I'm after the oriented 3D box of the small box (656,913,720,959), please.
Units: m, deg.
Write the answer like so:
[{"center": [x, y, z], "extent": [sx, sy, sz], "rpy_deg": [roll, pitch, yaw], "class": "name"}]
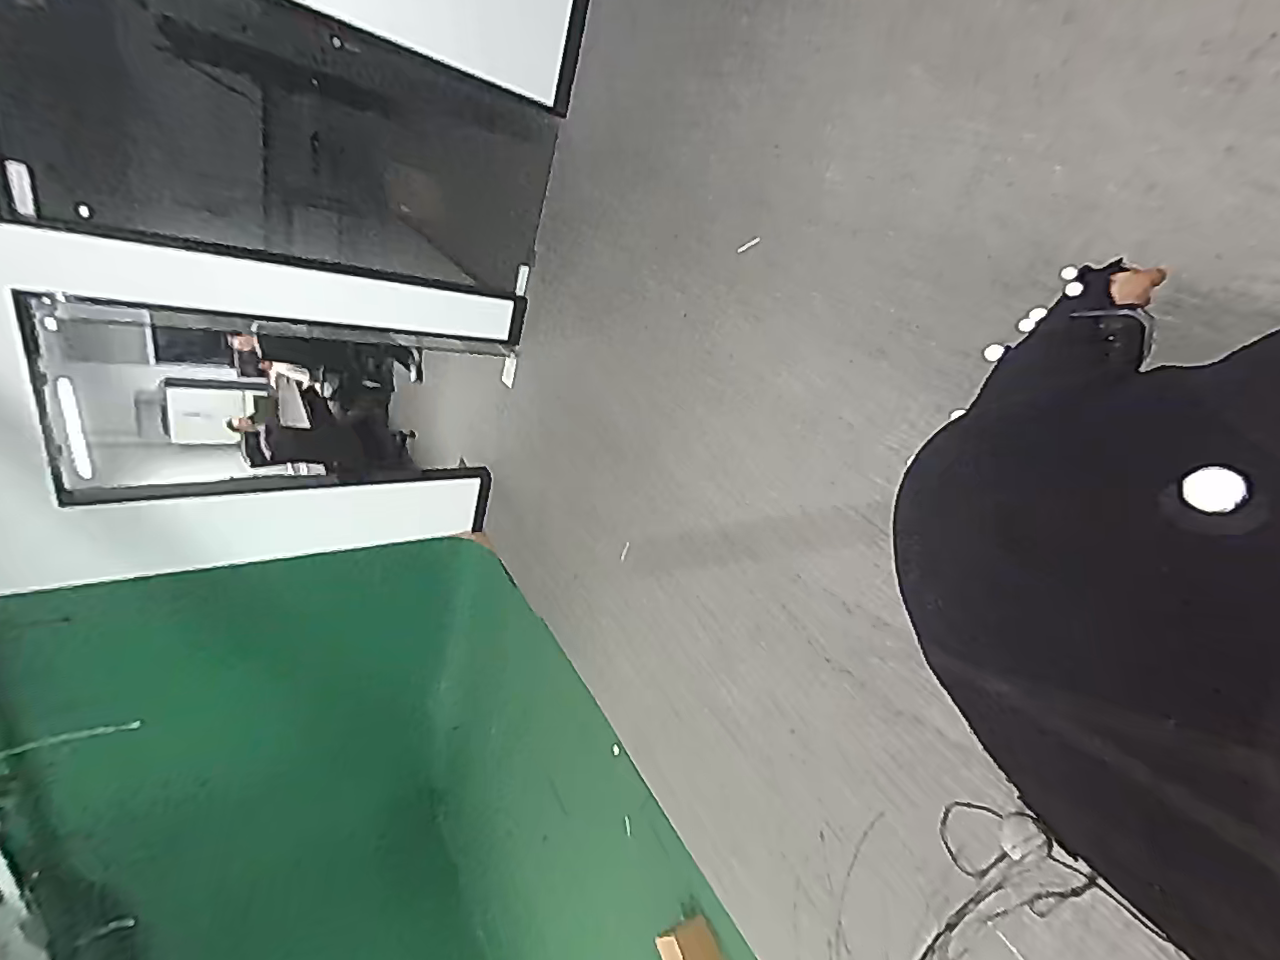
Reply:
[{"center": [0.201, 1.950, 2.246], "extent": [0.168, 0.176, 0.179], "rpy_deg": [-52, 54, 39], "class": "small box"}]
